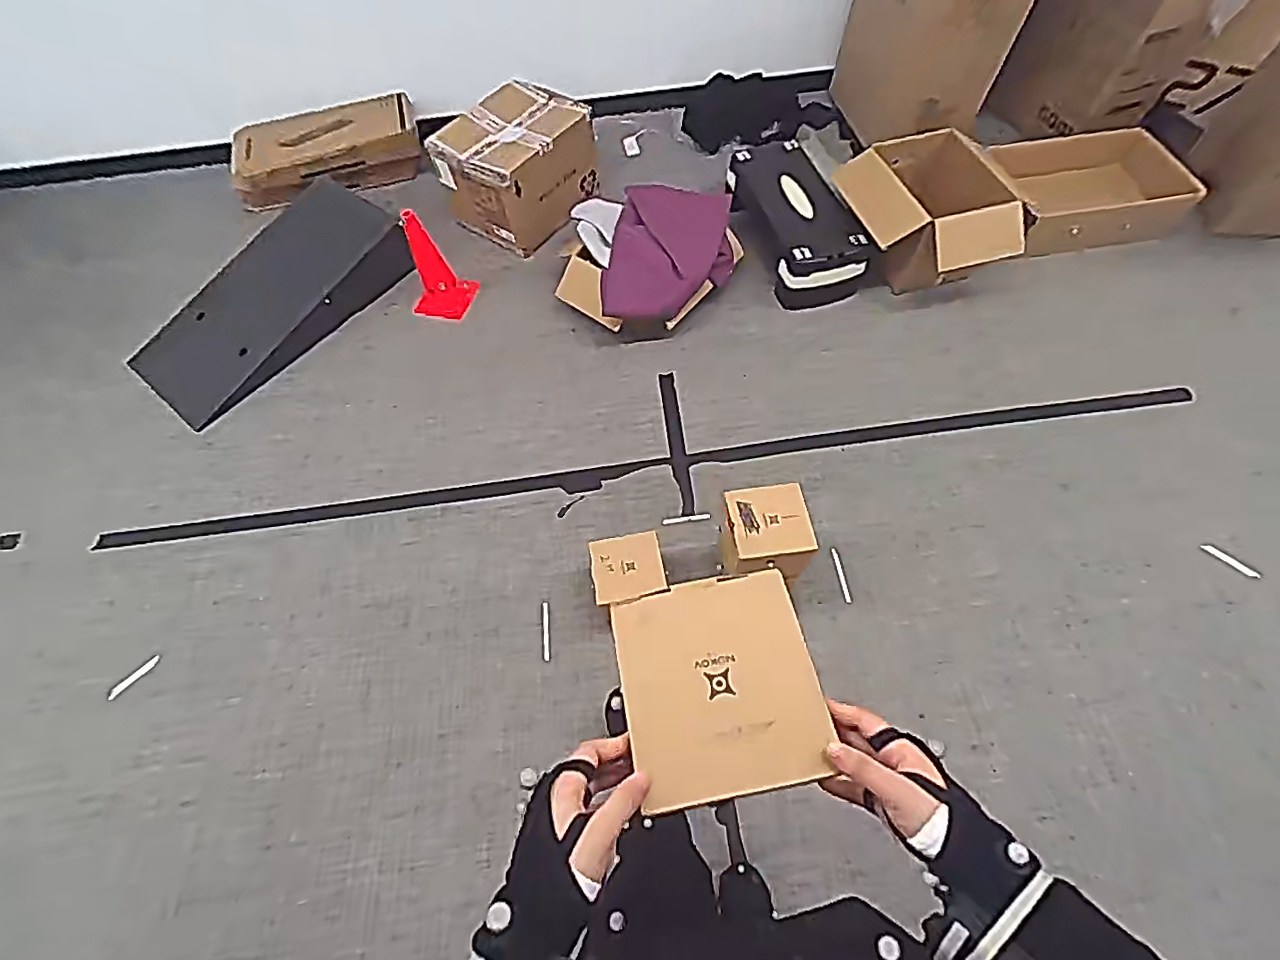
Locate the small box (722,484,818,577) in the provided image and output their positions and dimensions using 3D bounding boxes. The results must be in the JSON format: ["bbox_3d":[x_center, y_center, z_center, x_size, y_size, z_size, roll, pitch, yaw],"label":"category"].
[{"bbox_3d":[0.290,0.128,1.255,0.179,0.176,0.168,-7,62,-2],"label":"small box"}]

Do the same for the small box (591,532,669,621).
[{"bbox_3d":[-0.023,0.252,1.391,0.179,0.176,0.168,-10,62,-2],"label":"small box"}]

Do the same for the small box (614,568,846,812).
[{"bbox_3d":[0.072,0.210,0.530,0.168,0.176,0.179,-11,58,-2],"label":"small box"}]

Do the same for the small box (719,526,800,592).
[{"bbox_3d":[0.302,0.205,1.402,0.168,0.176,0.179,-6,63,0],"label":"small box"}]
